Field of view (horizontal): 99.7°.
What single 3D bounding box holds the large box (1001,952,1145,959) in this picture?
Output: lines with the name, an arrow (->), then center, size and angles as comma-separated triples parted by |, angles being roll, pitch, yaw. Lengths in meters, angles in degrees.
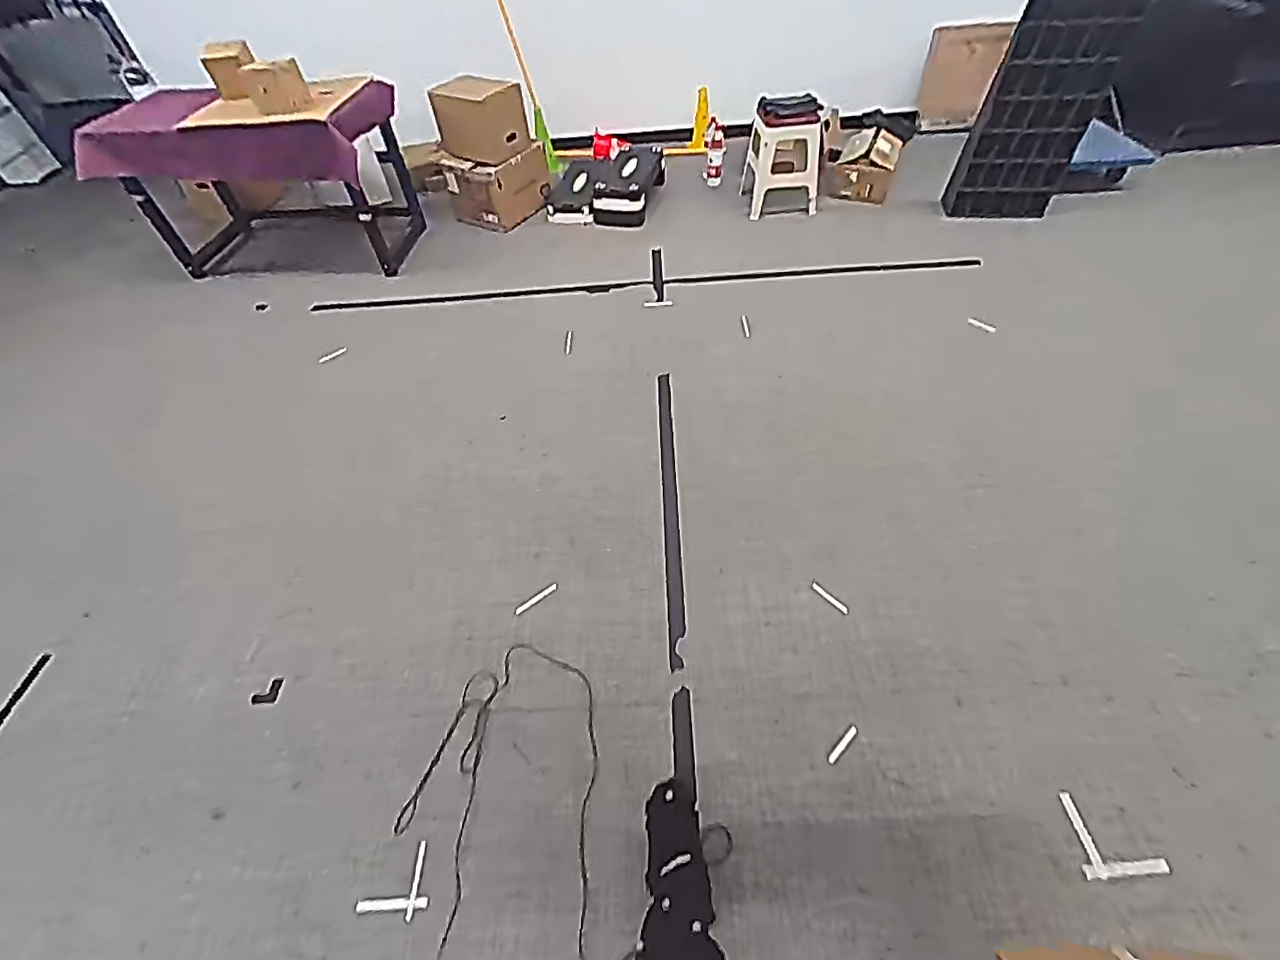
large box -> 0.629, 0.758, 0.515 | 0.320, 0.408, 0.320 | -4, 76, 8
